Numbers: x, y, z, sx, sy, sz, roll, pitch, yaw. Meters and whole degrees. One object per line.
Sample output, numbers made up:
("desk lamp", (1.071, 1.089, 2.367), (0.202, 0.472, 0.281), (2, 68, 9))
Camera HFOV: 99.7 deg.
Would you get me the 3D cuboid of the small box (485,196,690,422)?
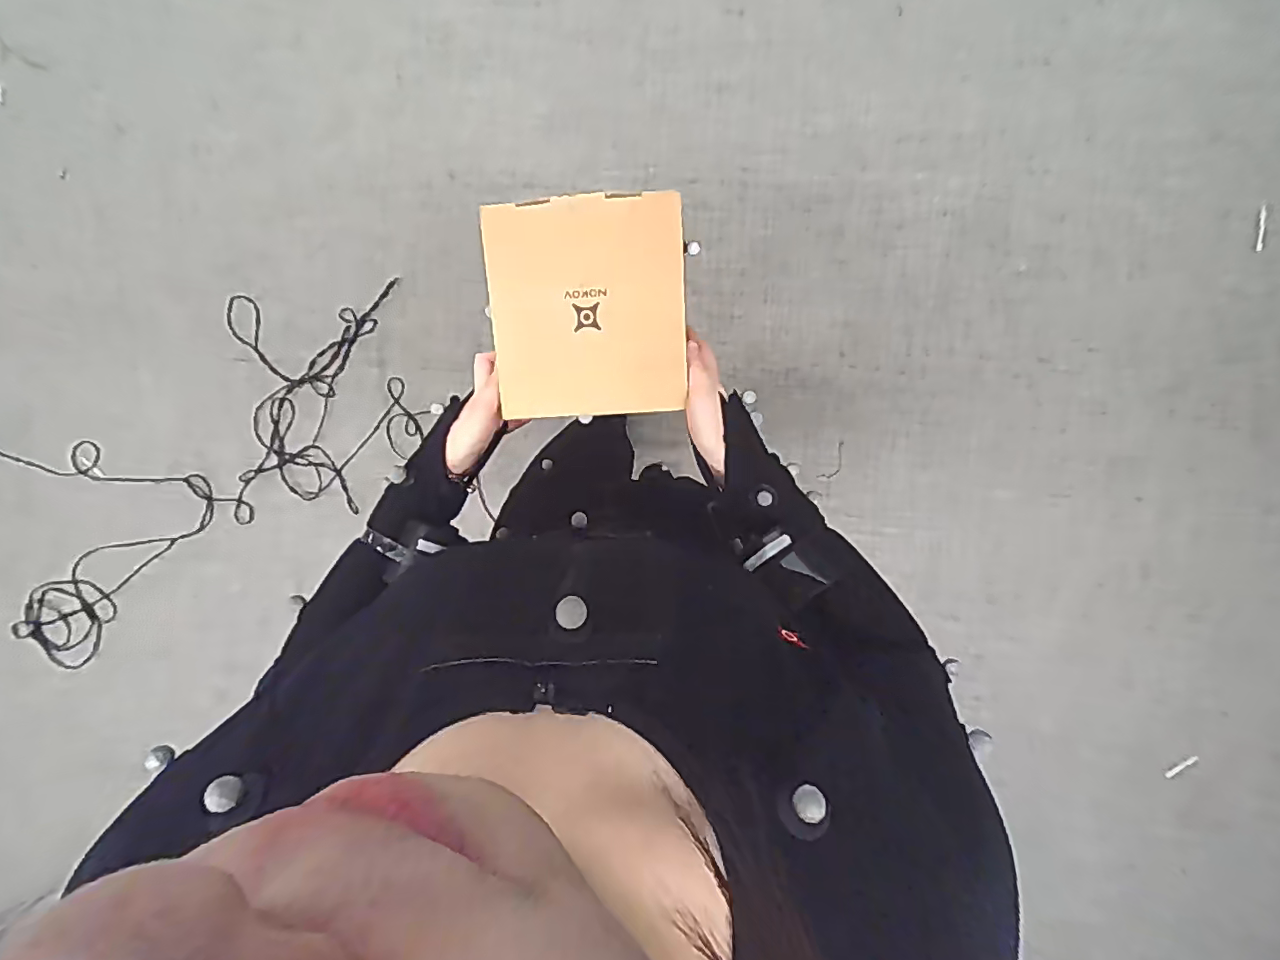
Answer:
("small box", (-0.035, -0.157, 0.529), (0.168, 0.176, 0.179), (-2, 103, 5))
